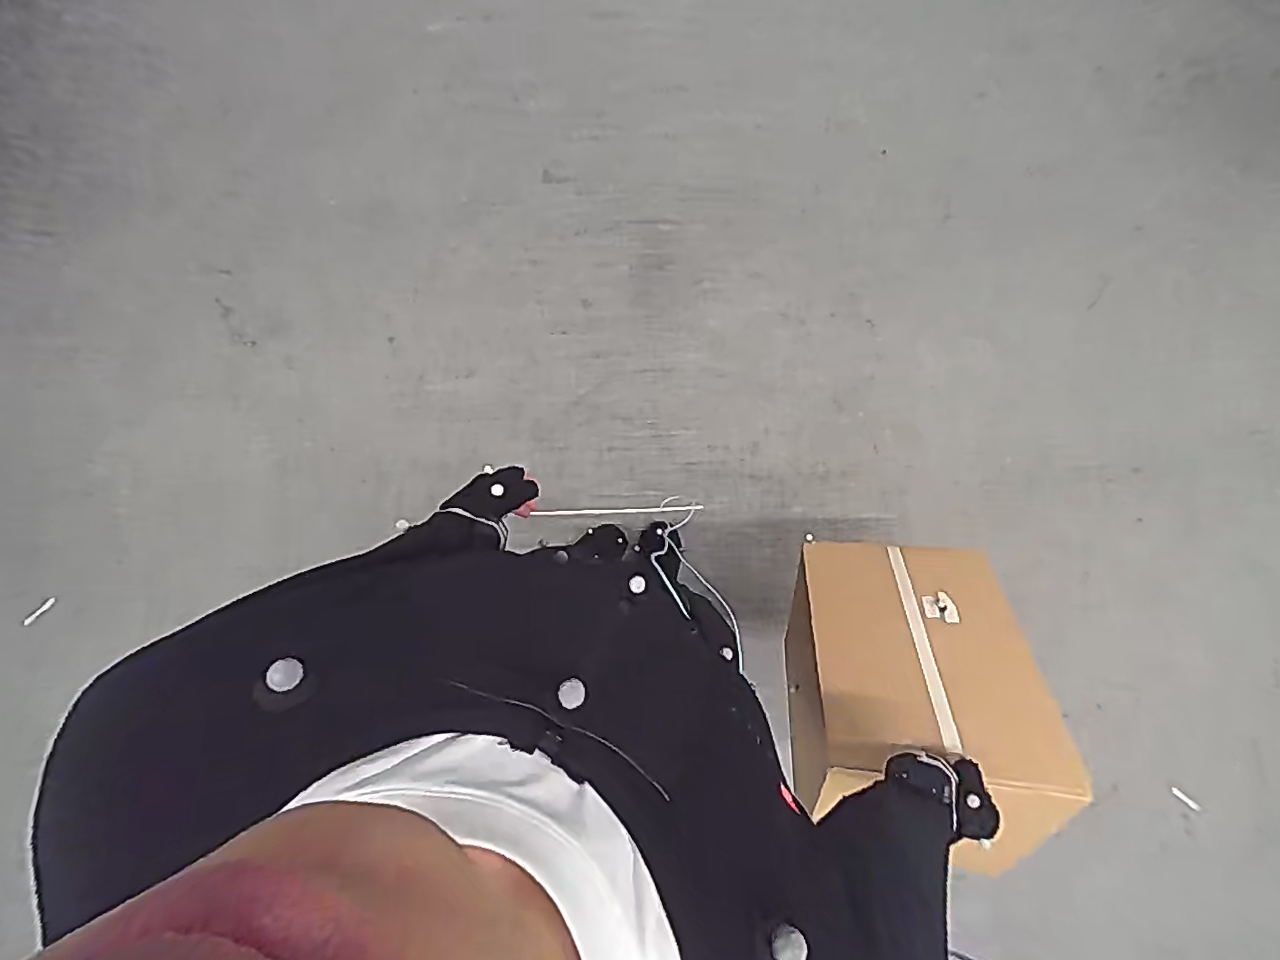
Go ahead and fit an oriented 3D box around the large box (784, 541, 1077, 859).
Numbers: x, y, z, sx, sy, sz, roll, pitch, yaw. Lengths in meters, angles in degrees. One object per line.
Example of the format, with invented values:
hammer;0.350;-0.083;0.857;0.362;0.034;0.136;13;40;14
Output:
large box;0.432;0.362;0.936;0.320;0.408;0.320;4;129;8
